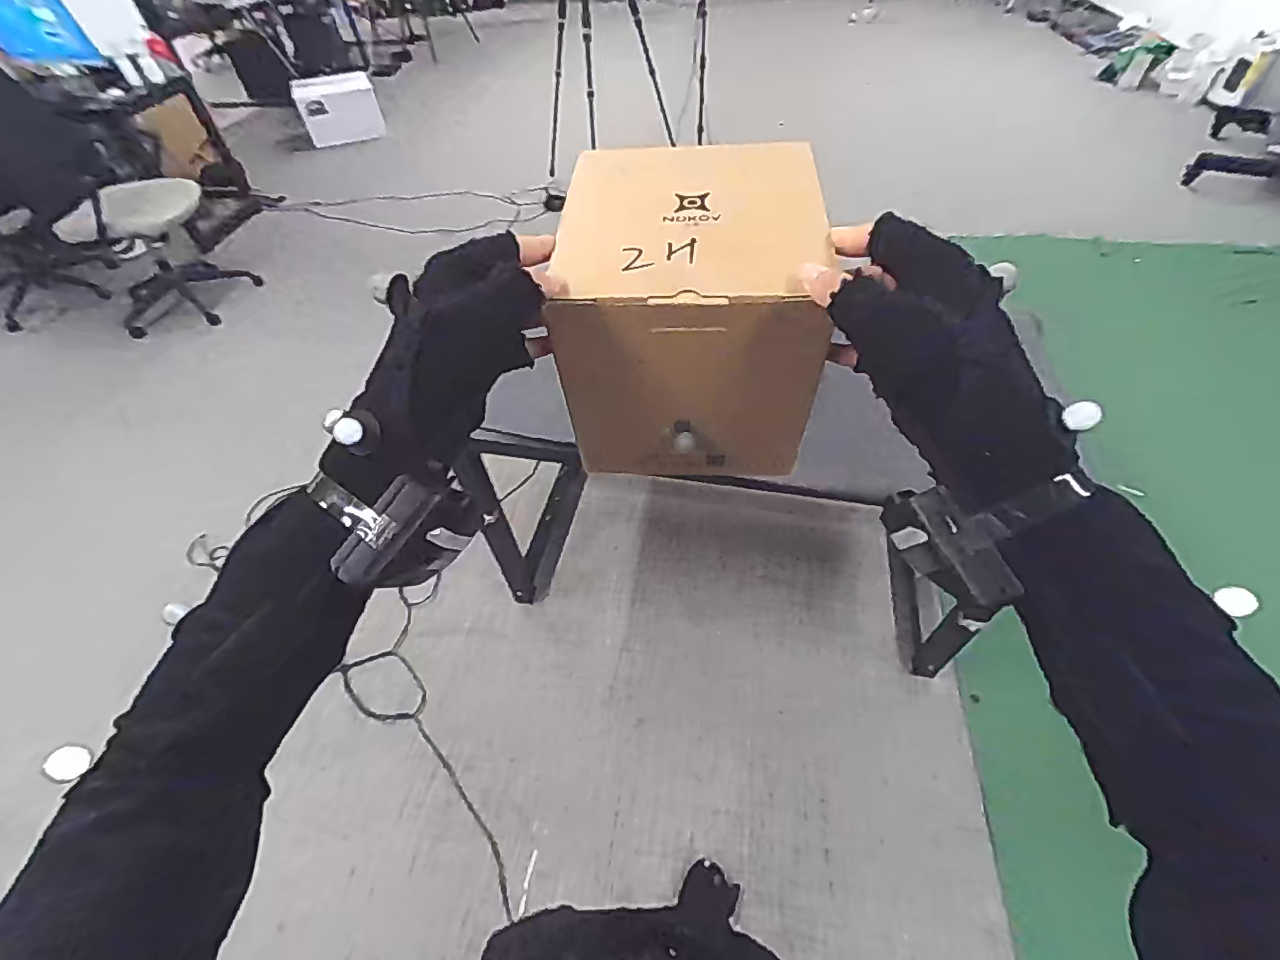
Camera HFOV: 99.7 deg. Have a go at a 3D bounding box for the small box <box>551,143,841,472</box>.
[{"bbox_3d":[0.042,-0.127,0.413,0.168,0.176,0.179,1,56,7],"label":"small box"}]
